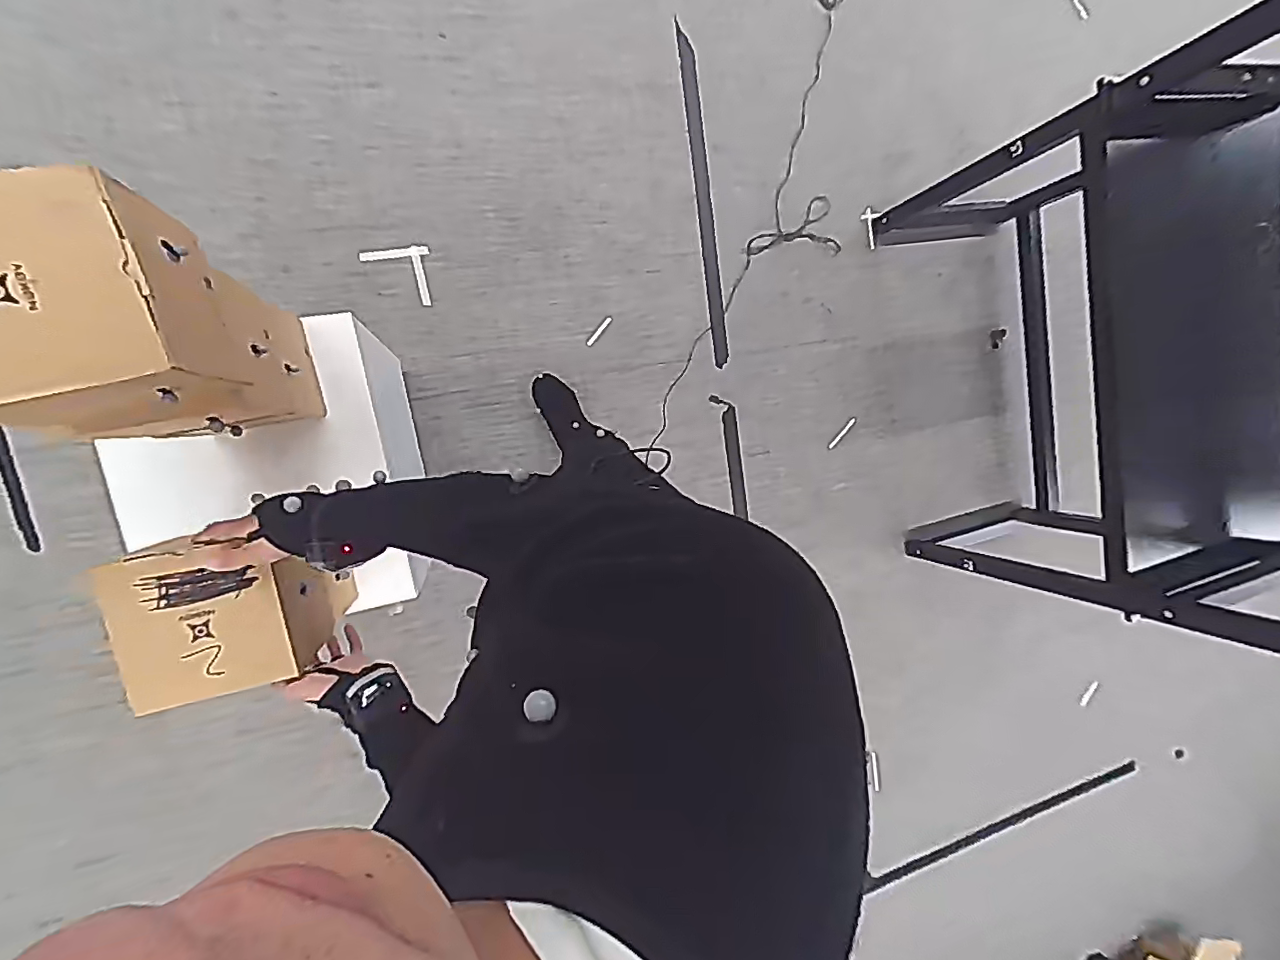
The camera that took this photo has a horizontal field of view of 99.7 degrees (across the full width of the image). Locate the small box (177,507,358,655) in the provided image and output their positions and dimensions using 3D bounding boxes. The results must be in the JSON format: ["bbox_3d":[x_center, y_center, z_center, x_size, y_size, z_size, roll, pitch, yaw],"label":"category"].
[{"bbox_3d":[-0.554,0.143,0.838,0.179,0.176,0.168,-11,97,-14],"label":"small box"}]

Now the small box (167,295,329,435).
[{"bbox_3d":[-0.594,-0.161,0.797,0.179,0.176,0.168,-13,99,-14],"label":"small box"}]

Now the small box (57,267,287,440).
[{"bbox_3d":[-0.548,-0.146,0.639,0.179,0.176,0.168,-13,99,-14],"label":"small box"}]

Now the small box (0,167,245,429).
[{"bbox_3d":[-0.495,-0.147,0.484,0.179,0.176,0.168,-18,100,-13],"label":"small box"}]
